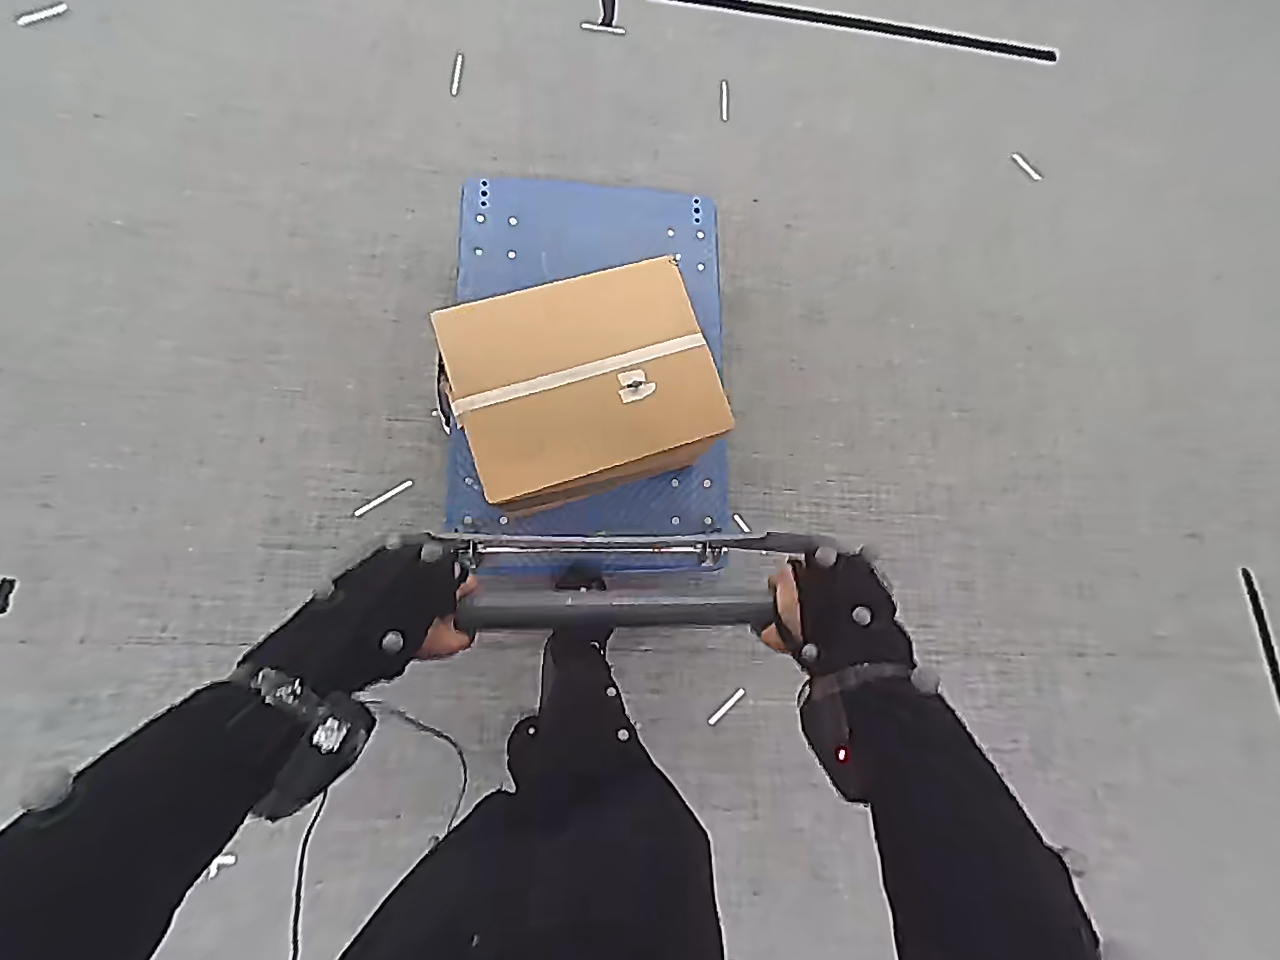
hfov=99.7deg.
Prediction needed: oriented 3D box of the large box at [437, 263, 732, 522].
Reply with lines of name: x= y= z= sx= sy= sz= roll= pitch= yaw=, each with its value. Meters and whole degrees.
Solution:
large box: x=-0.104 y=-0.138 z=0.997 sx=0.408 sy=0.320 sz=0.320 roll=-17 pitch=85 yaw=-11
